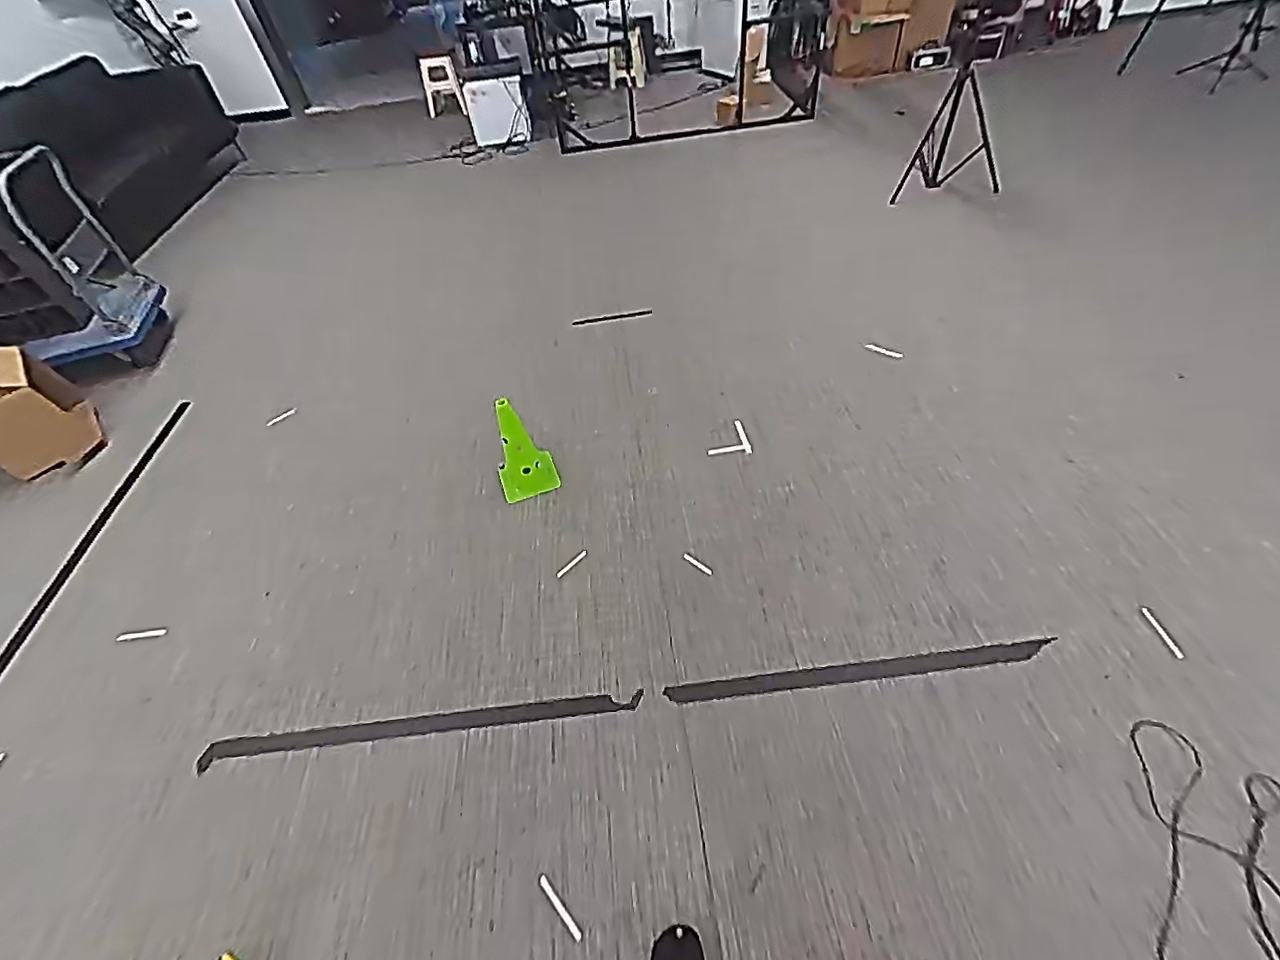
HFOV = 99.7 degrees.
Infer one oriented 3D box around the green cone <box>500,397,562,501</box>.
[{"bbox_3d":[-0.415,-0.129,1.852,0.202,0.368,0.200,-19,50,-11],"label":"green cone"}]
